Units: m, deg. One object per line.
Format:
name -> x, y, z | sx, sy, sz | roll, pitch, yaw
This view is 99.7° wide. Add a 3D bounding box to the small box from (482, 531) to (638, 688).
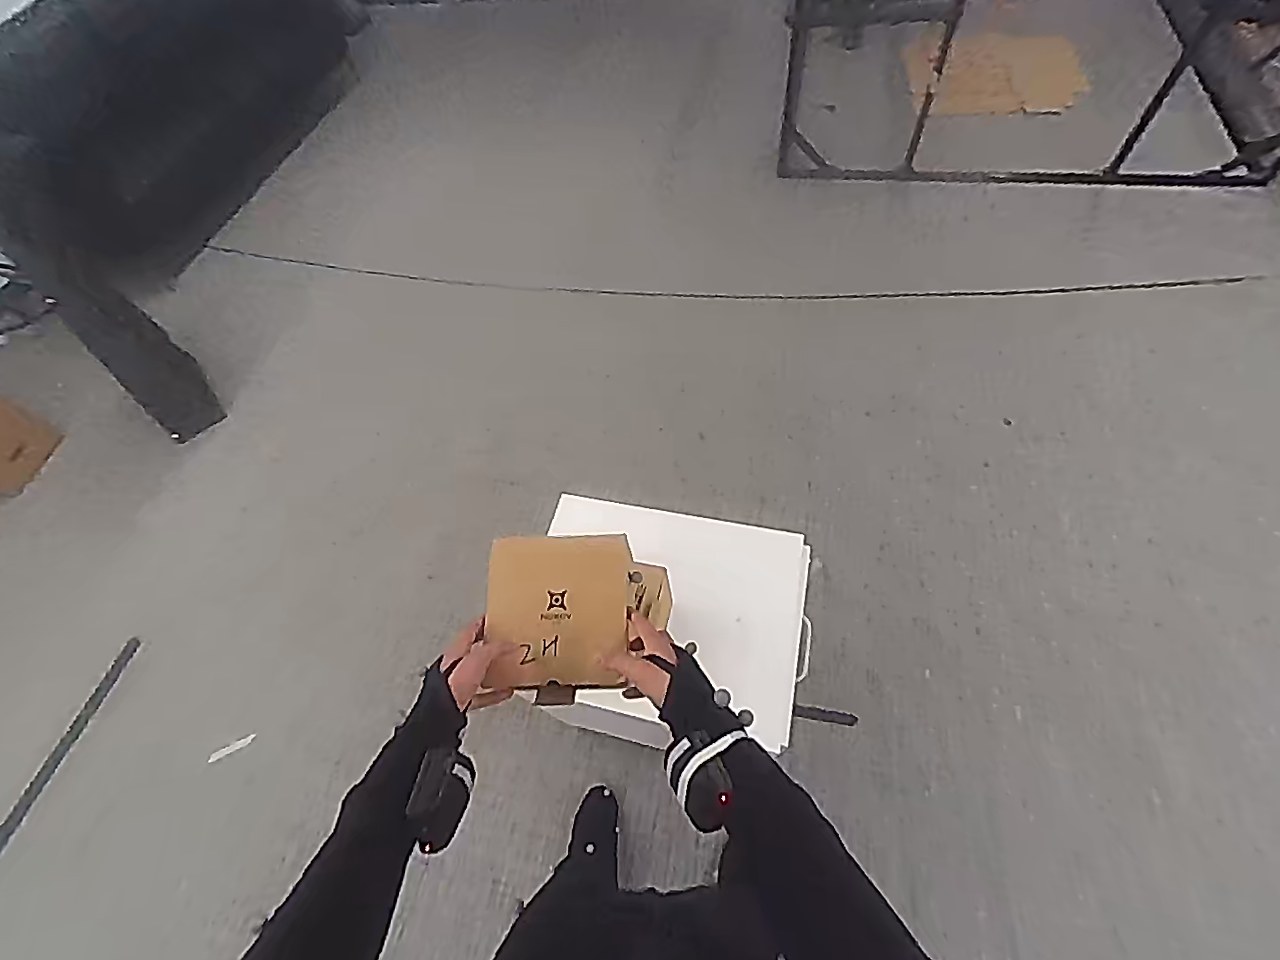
small box -> -0.091, 0.174, 0.702 | 0.168, 0.176, 0.179 | -1, 69, 3
